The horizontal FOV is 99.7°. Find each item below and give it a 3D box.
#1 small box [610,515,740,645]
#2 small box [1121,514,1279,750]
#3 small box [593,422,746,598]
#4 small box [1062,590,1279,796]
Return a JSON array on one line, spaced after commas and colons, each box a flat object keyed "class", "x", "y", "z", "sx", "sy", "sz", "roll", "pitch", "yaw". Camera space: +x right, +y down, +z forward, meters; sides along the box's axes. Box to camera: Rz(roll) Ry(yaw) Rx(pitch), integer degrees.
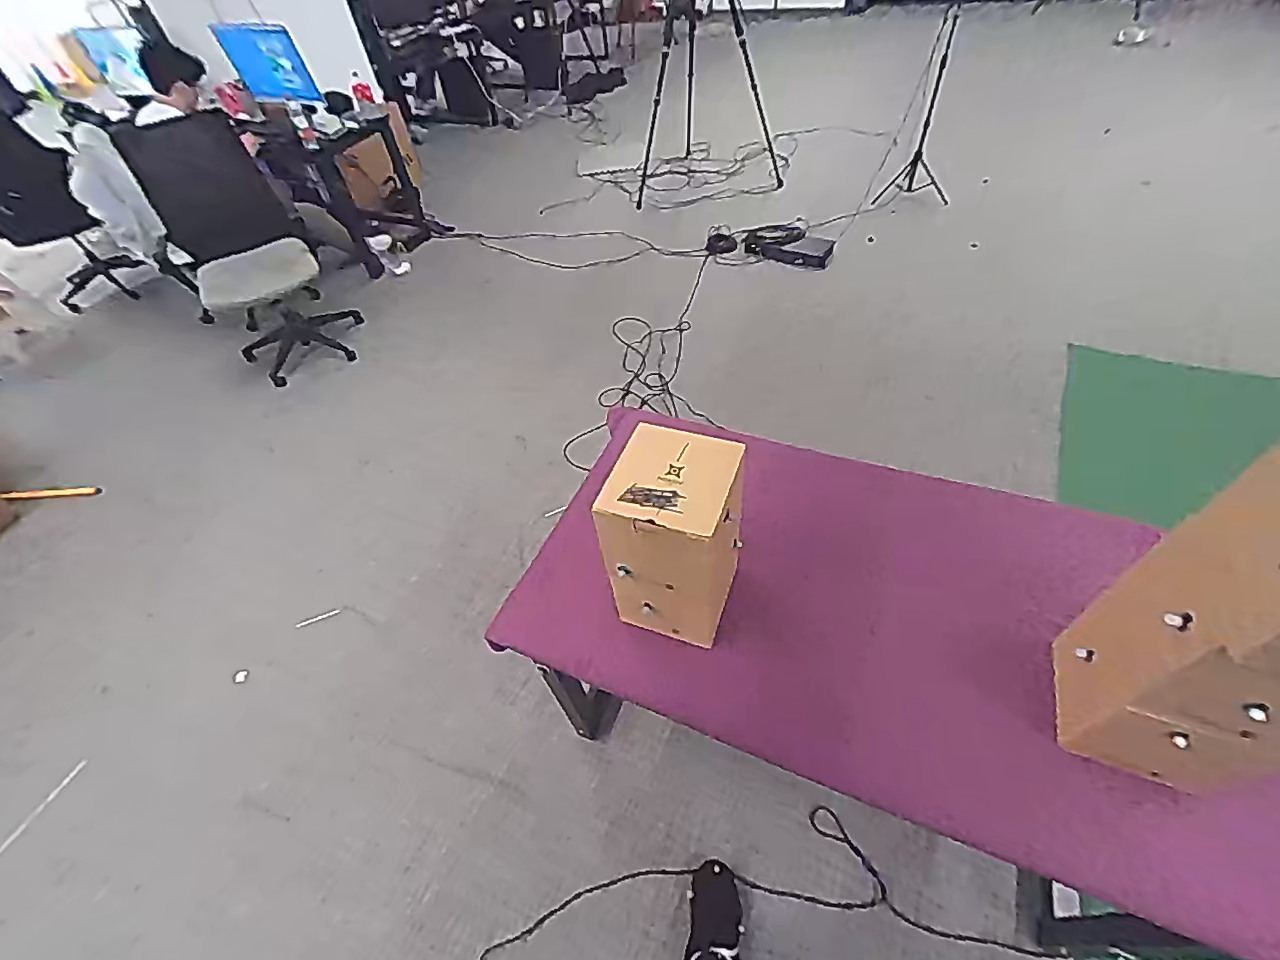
[{"class": "small box", "x": 0.068, "y": 0.152, "z": 0.916, "sx": 0.168, "sy": 0.176, "sz": 0.179, "roll": 13, "pitch": 52, "yaw": 18}, {"class": "small box", "x": 0.679, "y": 0.172, "z": 0.597, "sx": 0.168, "sy": 0.176, "sz": 0.179, "roll": 16, "pitch": 52, "yaw": 20}, {"class": "small box", "x": 0.052, "y": 0.046, "z": 0.791, "sx": 0.168, "sy": 0.176, "sz": 0.179, "roll": 14, "pitch": 51, "yaw": 18}, {"class": "small box", "x": 0.695, "y": 0.282, "z": 0.719, "sx": 0.168, "sy": 0.176, "sz": 0.179, "roll": 14, "pitch": 51, "yaw": 20}]
